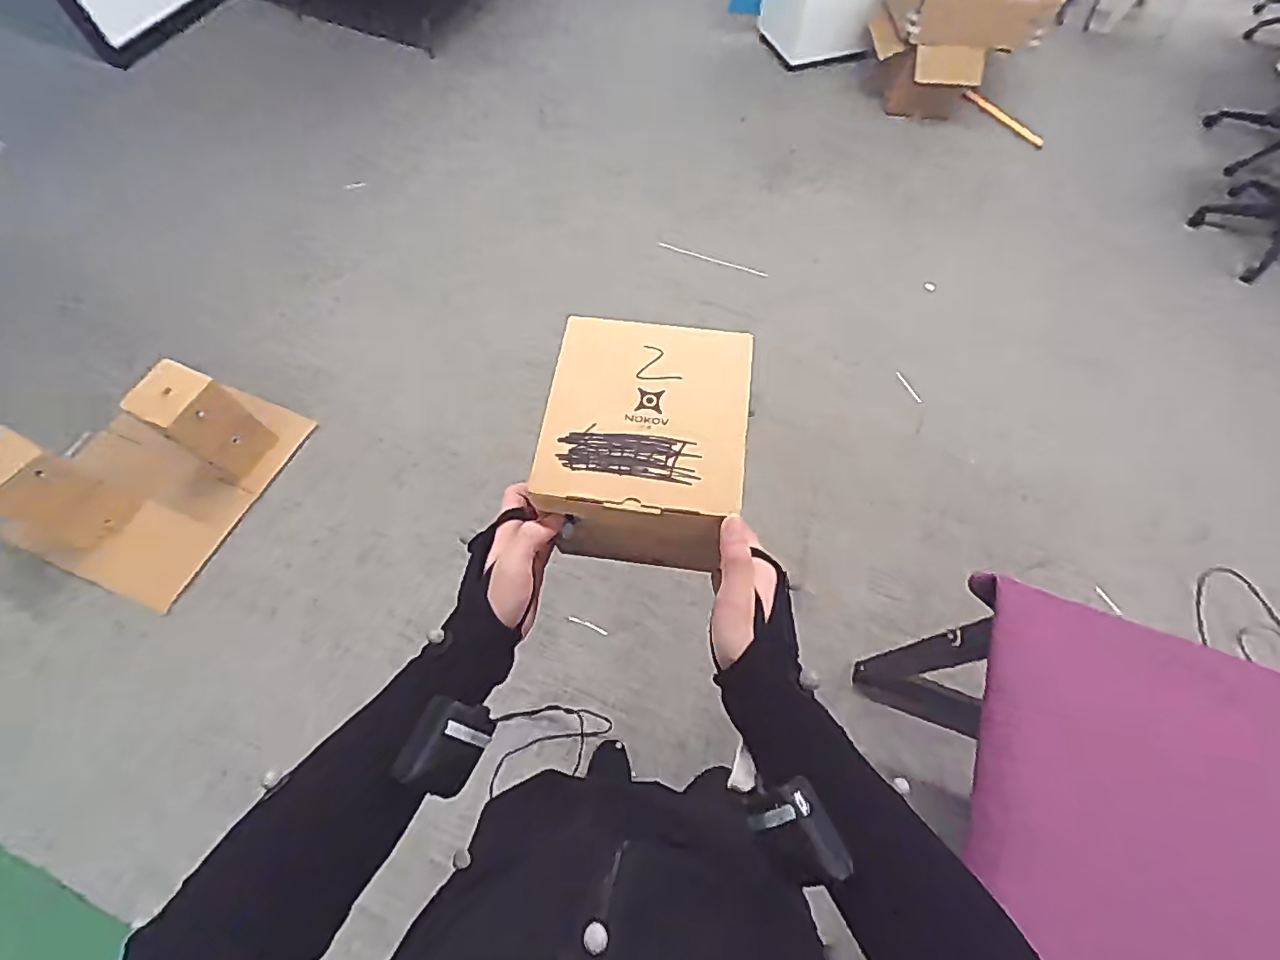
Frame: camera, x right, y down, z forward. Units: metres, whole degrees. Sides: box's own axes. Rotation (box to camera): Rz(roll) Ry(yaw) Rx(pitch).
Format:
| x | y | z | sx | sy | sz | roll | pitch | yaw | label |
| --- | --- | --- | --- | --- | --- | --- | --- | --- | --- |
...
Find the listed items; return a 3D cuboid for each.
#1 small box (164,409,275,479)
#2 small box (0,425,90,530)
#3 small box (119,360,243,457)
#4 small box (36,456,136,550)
| x | y | z | sx | sy | sz | roll | pitch | yaw | label |
| --- | --- | --- | --- | --- | --- | --- | --- | --- | --- |
| -1.276 | -0.128 | 1.658 | 0.168 | 0.176 | 0.179 | 22 | 66 | 8 | small box |
| -1.597 | -0.002 | 1.396 | 0.168 | 0.176 | 0.179 | 28 | 67 | 12 | small box |
| -1.264 | -0.196 | 1.511 | 0.168 | 0.176 | 0.179 | 22 | 67 | 7 | small box |
| -1.610 | 0.071 | 1.545 | 0.168 | 0.176 | 0.179 | 29 | 66 | 12 | small box |
